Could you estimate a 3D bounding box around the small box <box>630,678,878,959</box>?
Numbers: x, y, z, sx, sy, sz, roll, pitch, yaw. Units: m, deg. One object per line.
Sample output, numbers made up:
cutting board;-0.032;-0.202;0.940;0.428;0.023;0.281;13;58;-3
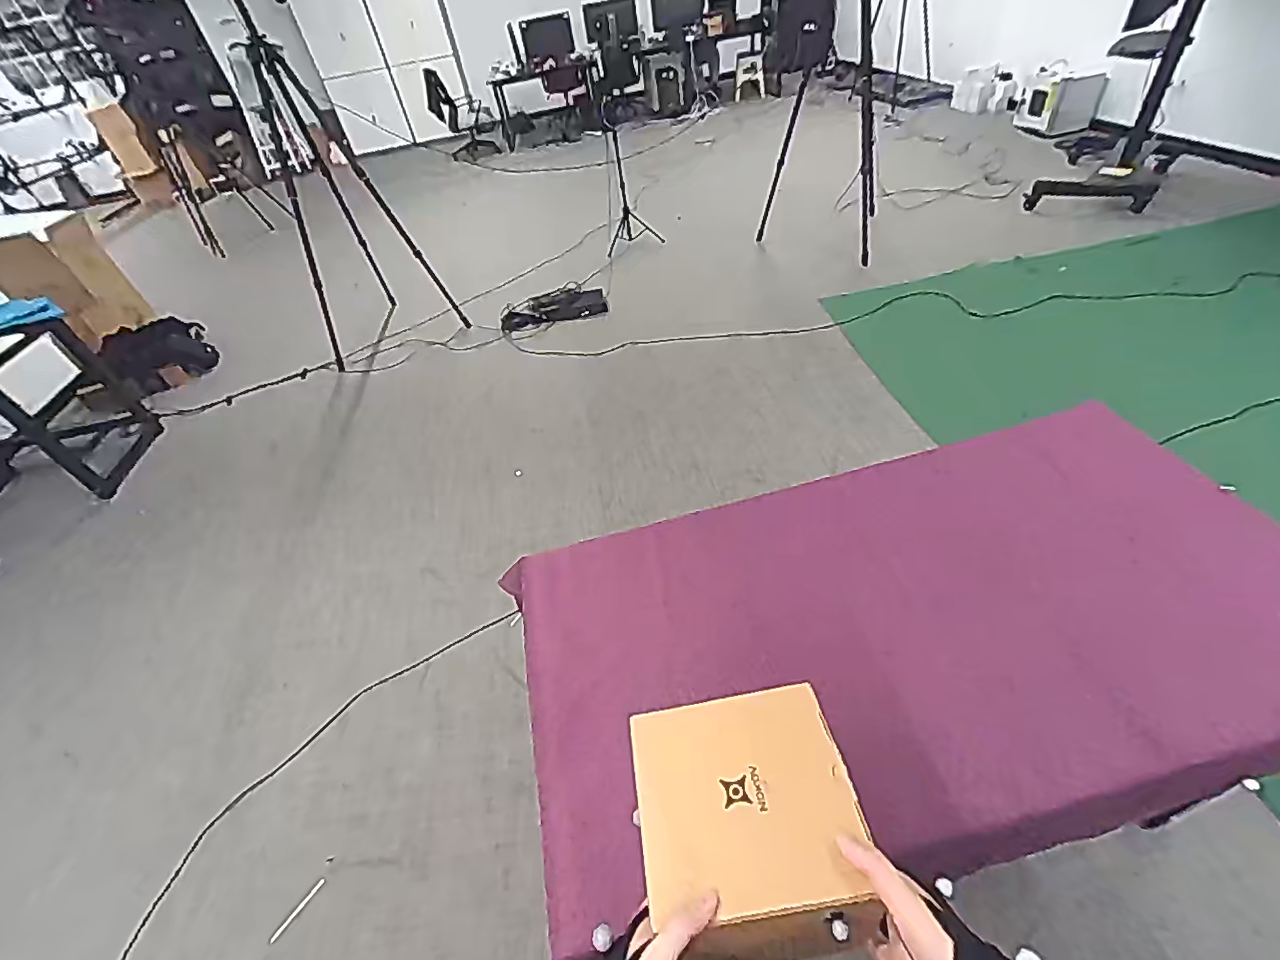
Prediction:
small box;0.097;0.316;0.500;0.179;0.176;0.168;-12;38;2
